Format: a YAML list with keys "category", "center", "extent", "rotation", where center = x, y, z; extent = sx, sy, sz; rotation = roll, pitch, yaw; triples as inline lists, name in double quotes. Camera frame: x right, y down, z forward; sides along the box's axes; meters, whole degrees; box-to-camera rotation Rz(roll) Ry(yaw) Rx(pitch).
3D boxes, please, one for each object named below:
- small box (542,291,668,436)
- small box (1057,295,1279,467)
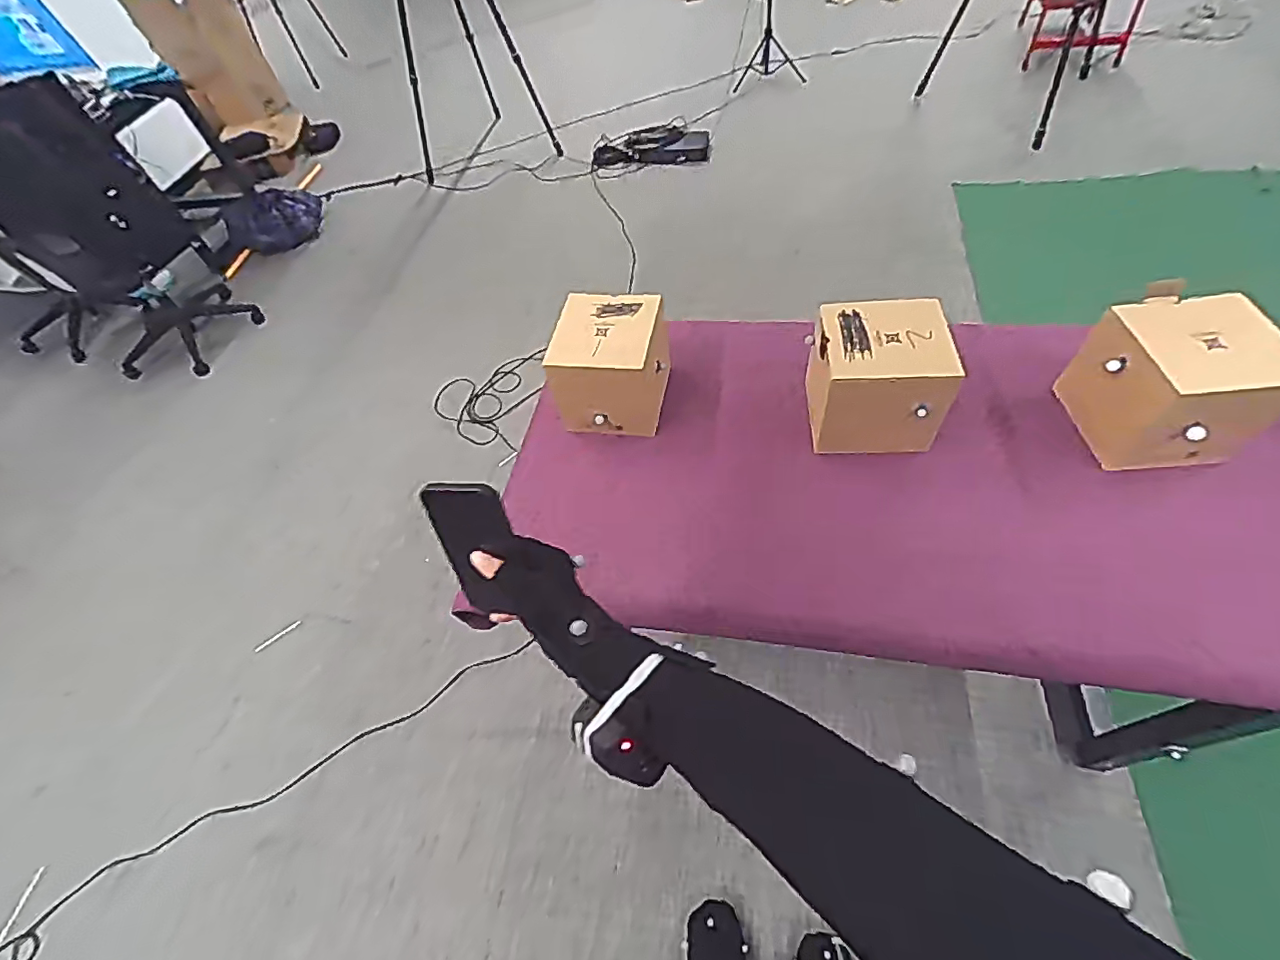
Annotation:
- category: "small box"
  center: [-0.048, -0.200, 0.933]
  extent: [0.168, 0.176, 0.179]
  rotation: [5, 58, 12]
- category: "small box"
  center: [0.745, -0.130, 0.763]
  extent: [0.168, 0.176, 0.179]
  rotation: [-5, 54, 6]
